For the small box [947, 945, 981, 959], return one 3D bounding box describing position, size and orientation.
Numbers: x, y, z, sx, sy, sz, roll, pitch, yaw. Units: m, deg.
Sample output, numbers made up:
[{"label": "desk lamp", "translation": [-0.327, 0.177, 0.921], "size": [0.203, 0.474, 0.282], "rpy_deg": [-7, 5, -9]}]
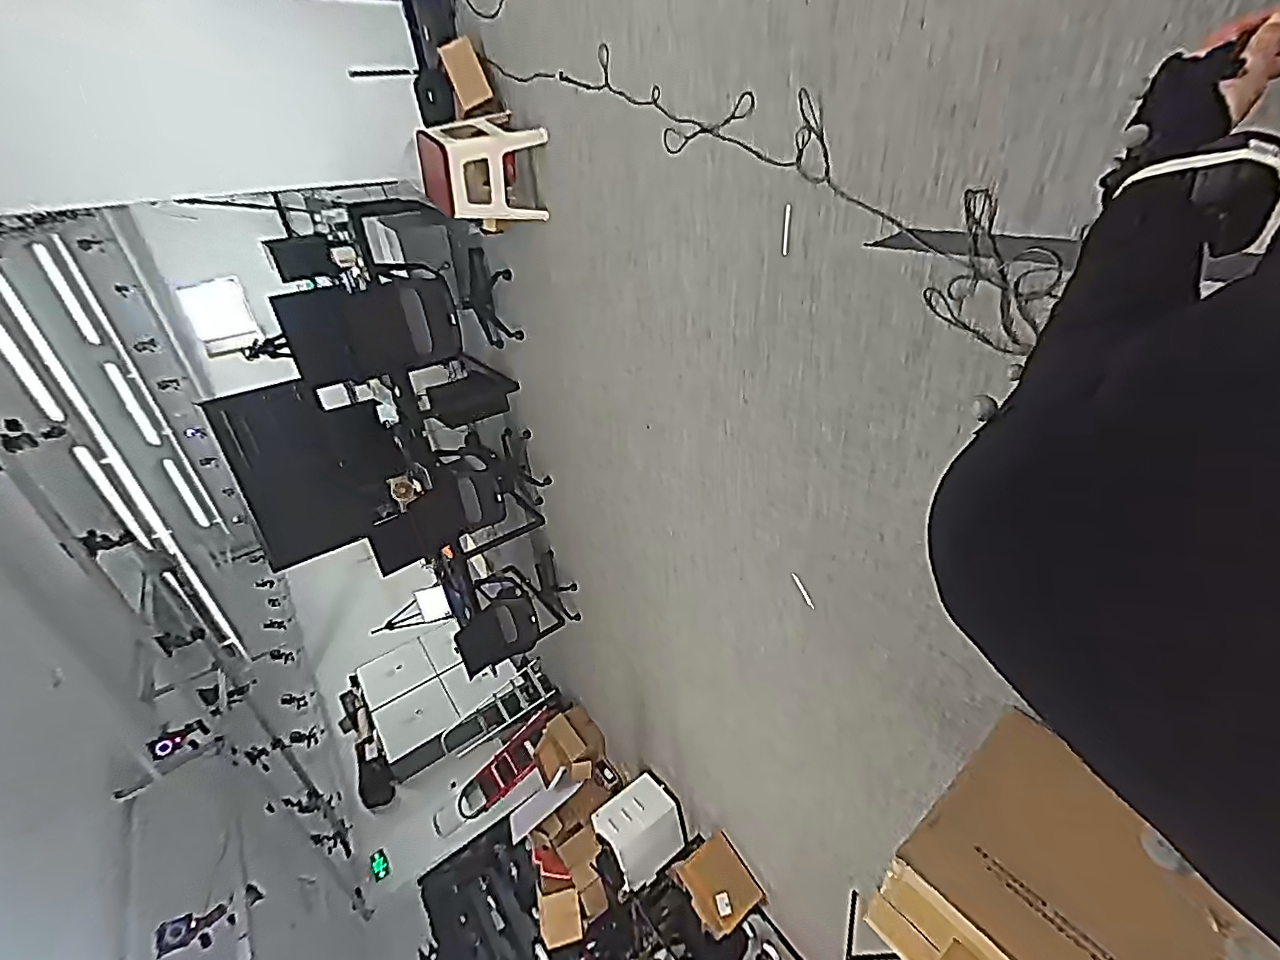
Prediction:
[{"label": "small box", "translation": [0.713, 1.162, 1.155], "size": [0.179, 0.176, 0.168], "rpy_deg": [36, 139, 44]}]
